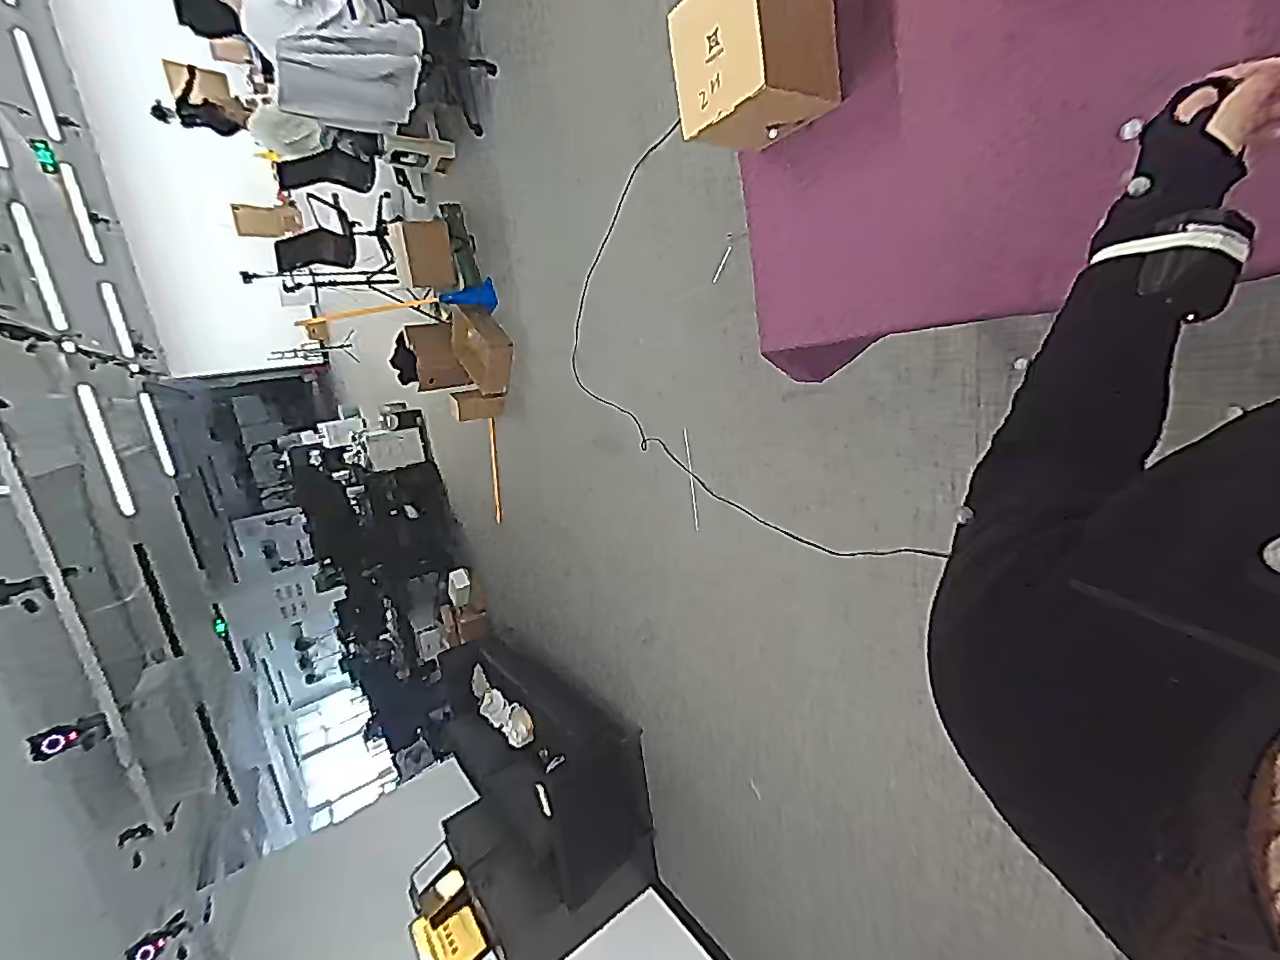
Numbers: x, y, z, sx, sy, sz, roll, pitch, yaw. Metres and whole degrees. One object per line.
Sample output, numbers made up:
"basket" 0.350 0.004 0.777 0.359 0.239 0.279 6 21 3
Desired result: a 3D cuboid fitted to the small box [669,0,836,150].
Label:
"small box" 0.168 -0.620 0.799 0.168 0.176 0.179 7 110 54
